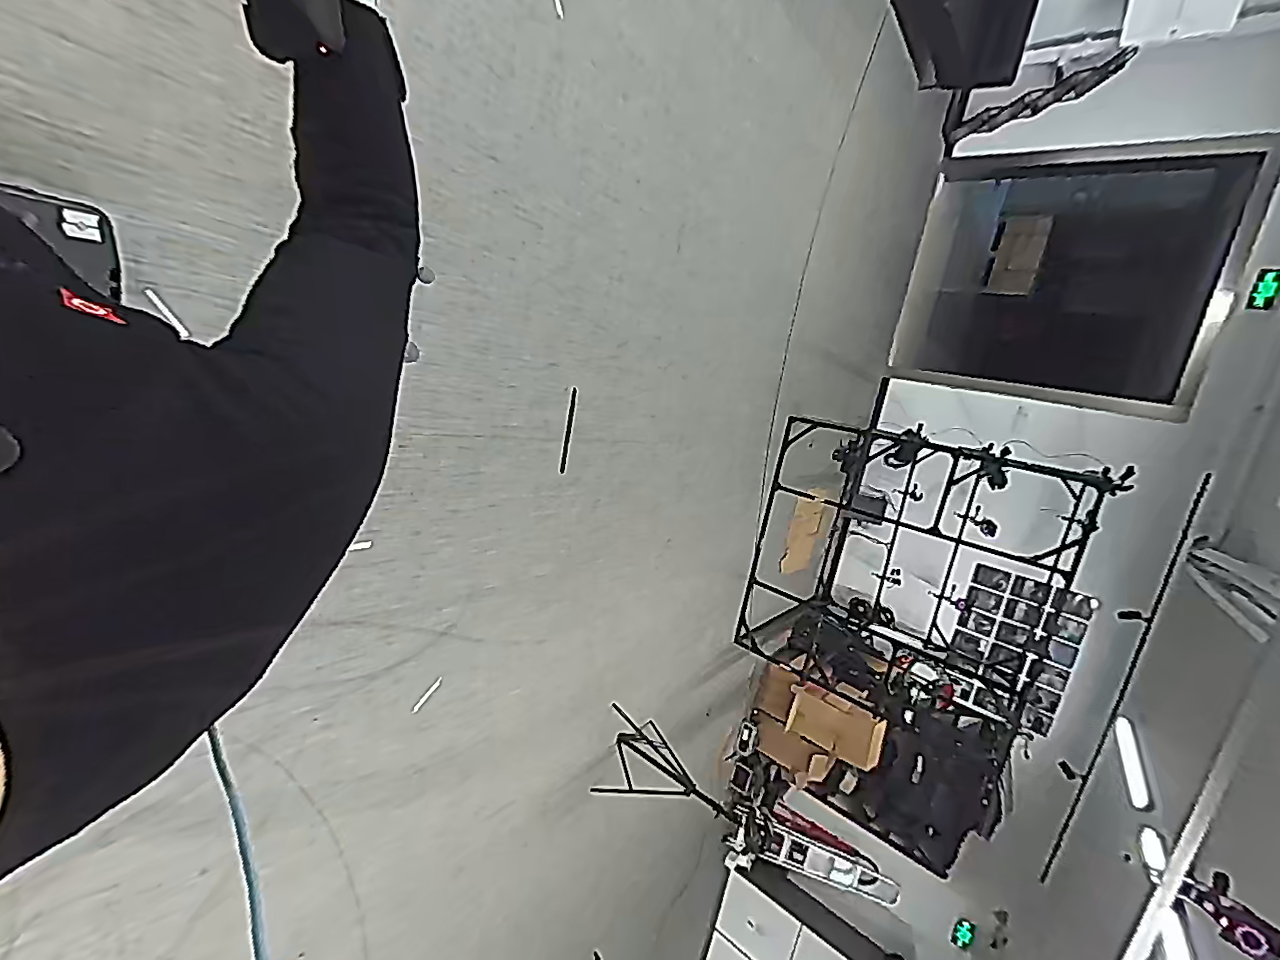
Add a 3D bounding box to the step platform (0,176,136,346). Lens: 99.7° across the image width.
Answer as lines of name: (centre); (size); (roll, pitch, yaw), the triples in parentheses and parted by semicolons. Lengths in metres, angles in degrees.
step platform: (-1.285, -0.404, 0.877); (0.684, 0.204, 0.286); (-7, 111, -53)
